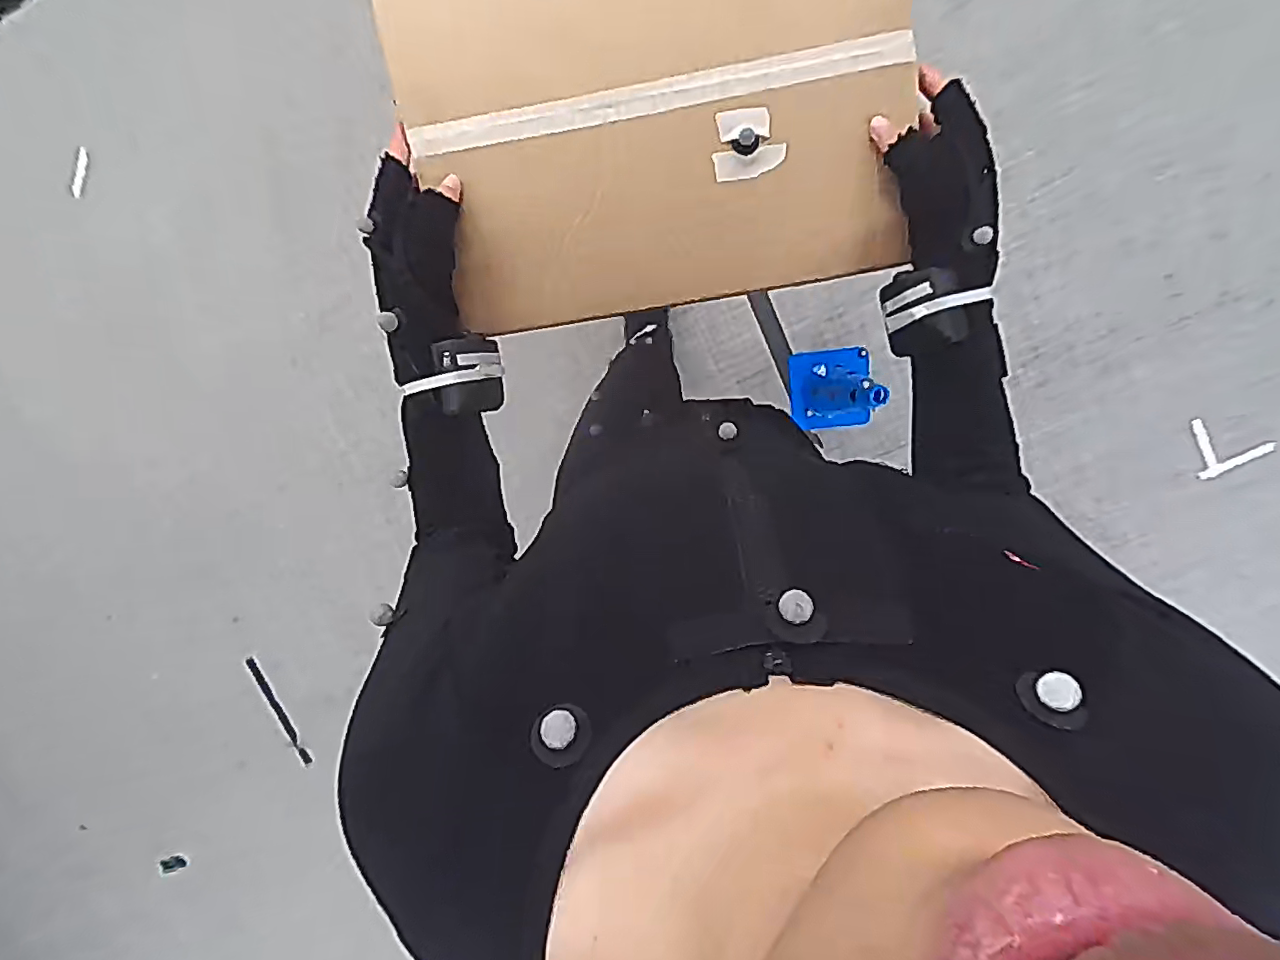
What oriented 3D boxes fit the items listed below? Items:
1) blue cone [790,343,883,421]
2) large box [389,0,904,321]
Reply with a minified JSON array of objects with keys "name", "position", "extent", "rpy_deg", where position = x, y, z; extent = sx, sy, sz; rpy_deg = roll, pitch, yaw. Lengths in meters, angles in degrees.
[{"name":"blue cone","position":[0.477,-0.222,1.241],"extent":[0.193,0.380,0.192],"rpy_deg":[-4,100,5]},{"name":"large box","position":[0.012,-0.363,0.585],"extent":[0.408,0.320,0.320],"rpy_deg":[-8,107,3]}]
